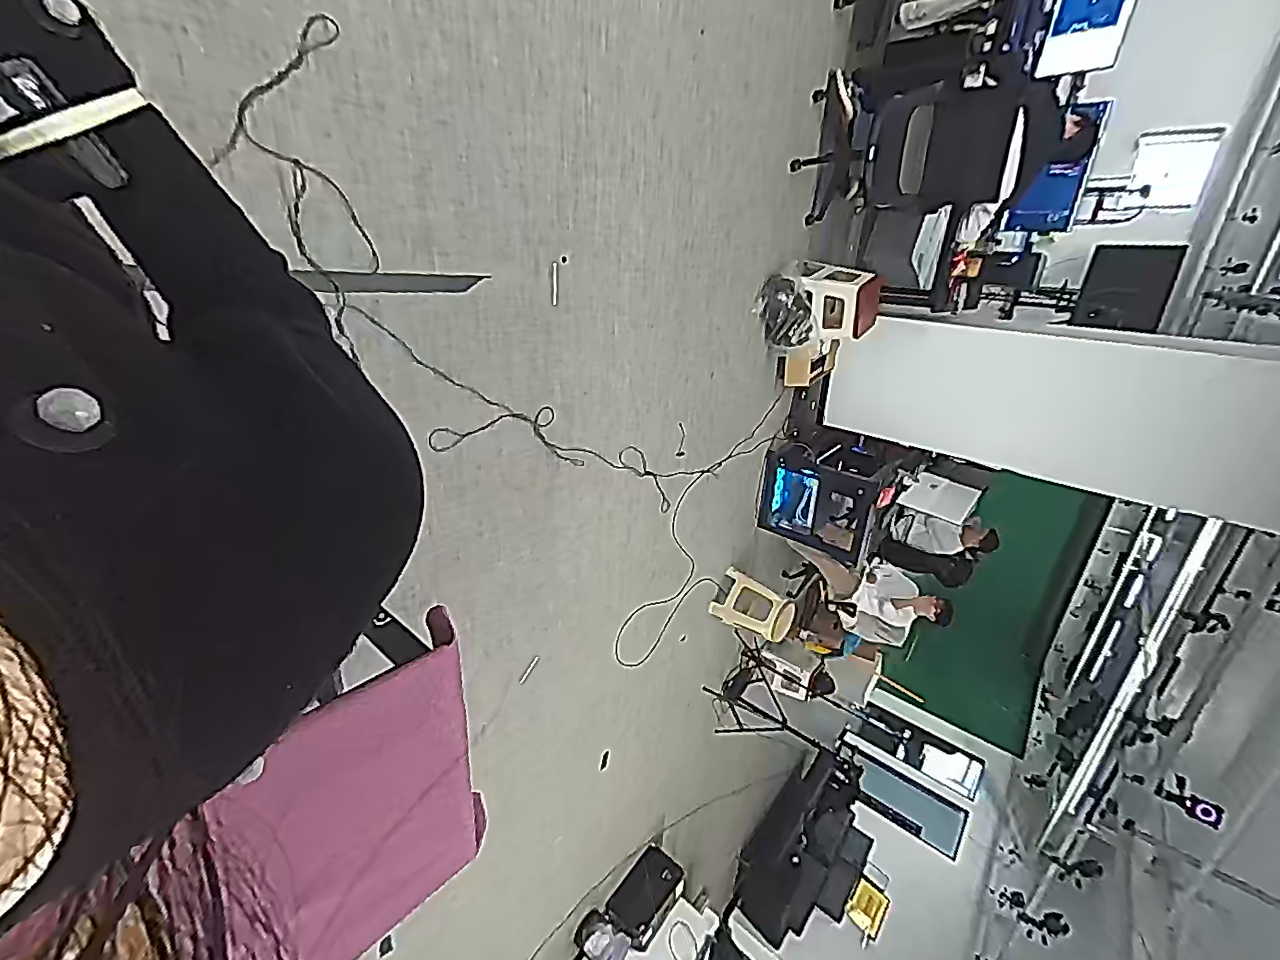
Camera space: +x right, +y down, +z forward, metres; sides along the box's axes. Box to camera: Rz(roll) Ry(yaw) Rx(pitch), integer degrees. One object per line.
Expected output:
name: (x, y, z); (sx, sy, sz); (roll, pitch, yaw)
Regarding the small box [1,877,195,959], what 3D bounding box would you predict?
small box: (-0.659, 0.655, 0.670); (0.168, 0.176, 0.179); (-21, 123, -48)
